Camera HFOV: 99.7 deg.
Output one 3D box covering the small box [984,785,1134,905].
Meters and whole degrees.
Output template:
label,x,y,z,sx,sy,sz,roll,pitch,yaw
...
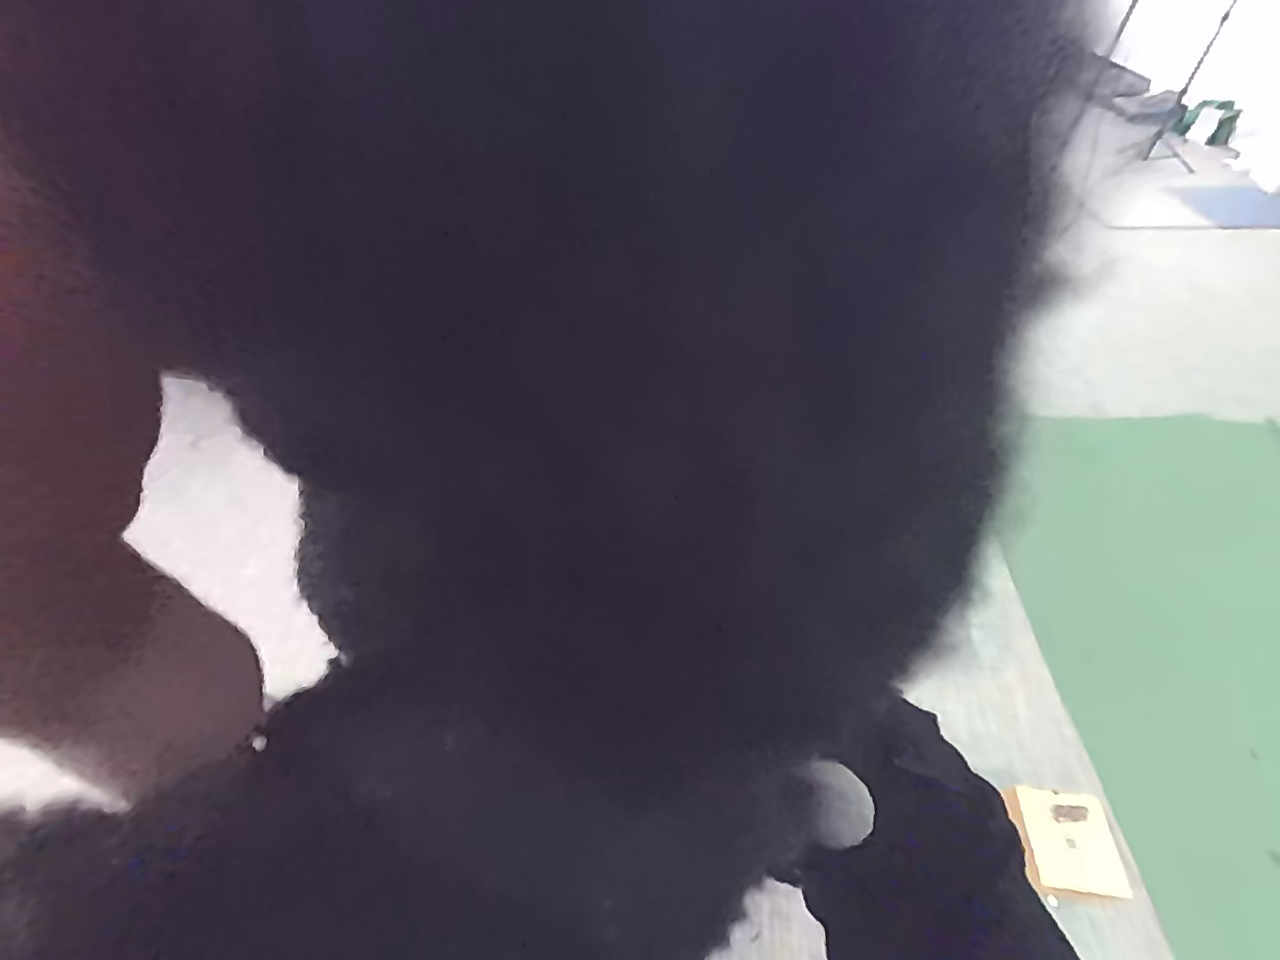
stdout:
label,x,y,z,sx,sy,sz,roll,pitch,yaw
small box,0.864,0.770,1.141,0.168,0.176,0.179,5,50,7
